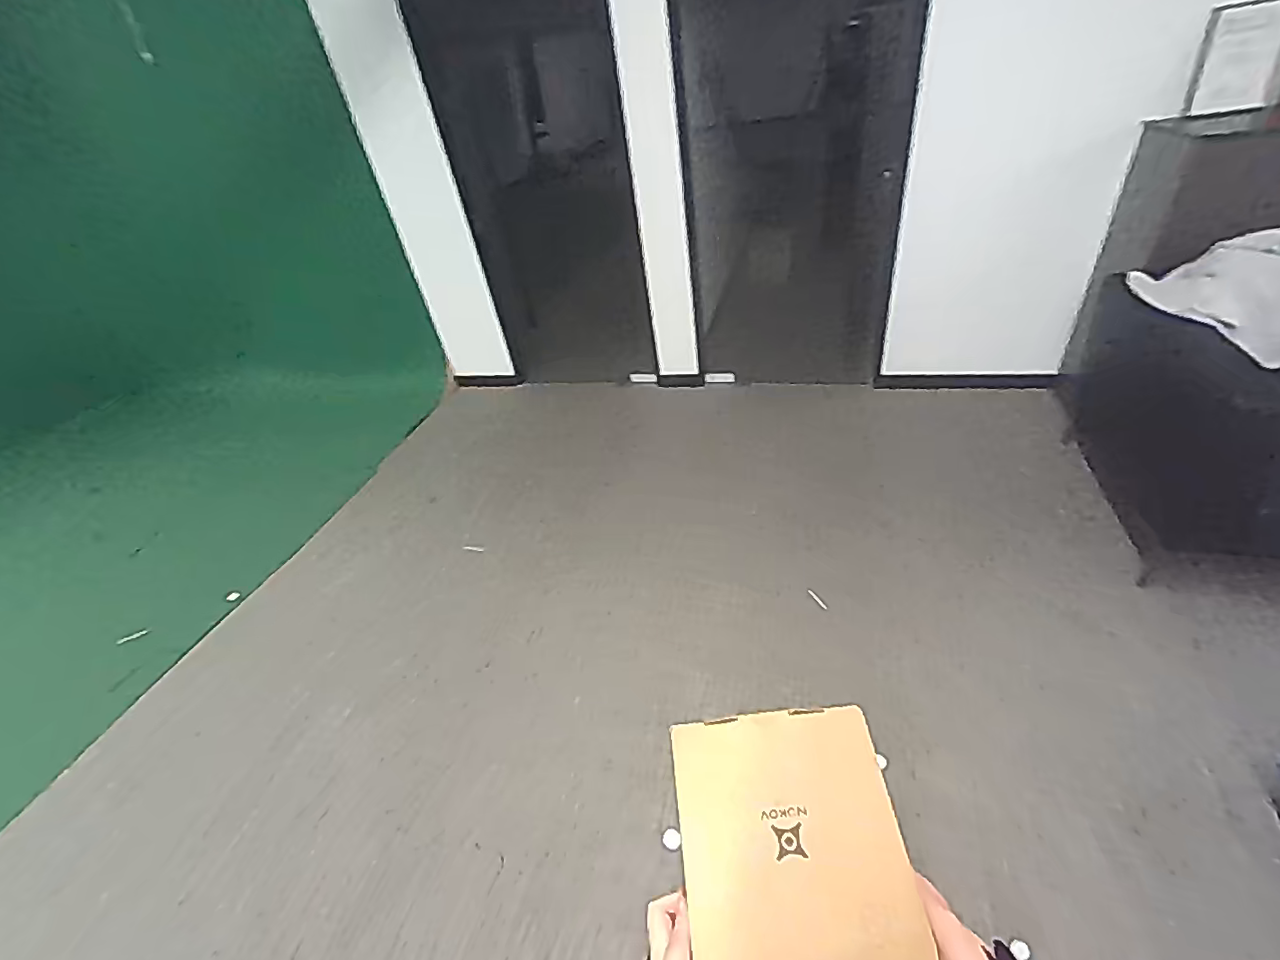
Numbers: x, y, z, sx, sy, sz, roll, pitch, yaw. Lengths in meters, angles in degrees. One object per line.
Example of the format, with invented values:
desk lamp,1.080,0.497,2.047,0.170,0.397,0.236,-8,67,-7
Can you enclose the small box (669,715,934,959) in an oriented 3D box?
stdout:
small box,0.122,0.325,0.466,0.168,0.176,0.179,-8,49,3
